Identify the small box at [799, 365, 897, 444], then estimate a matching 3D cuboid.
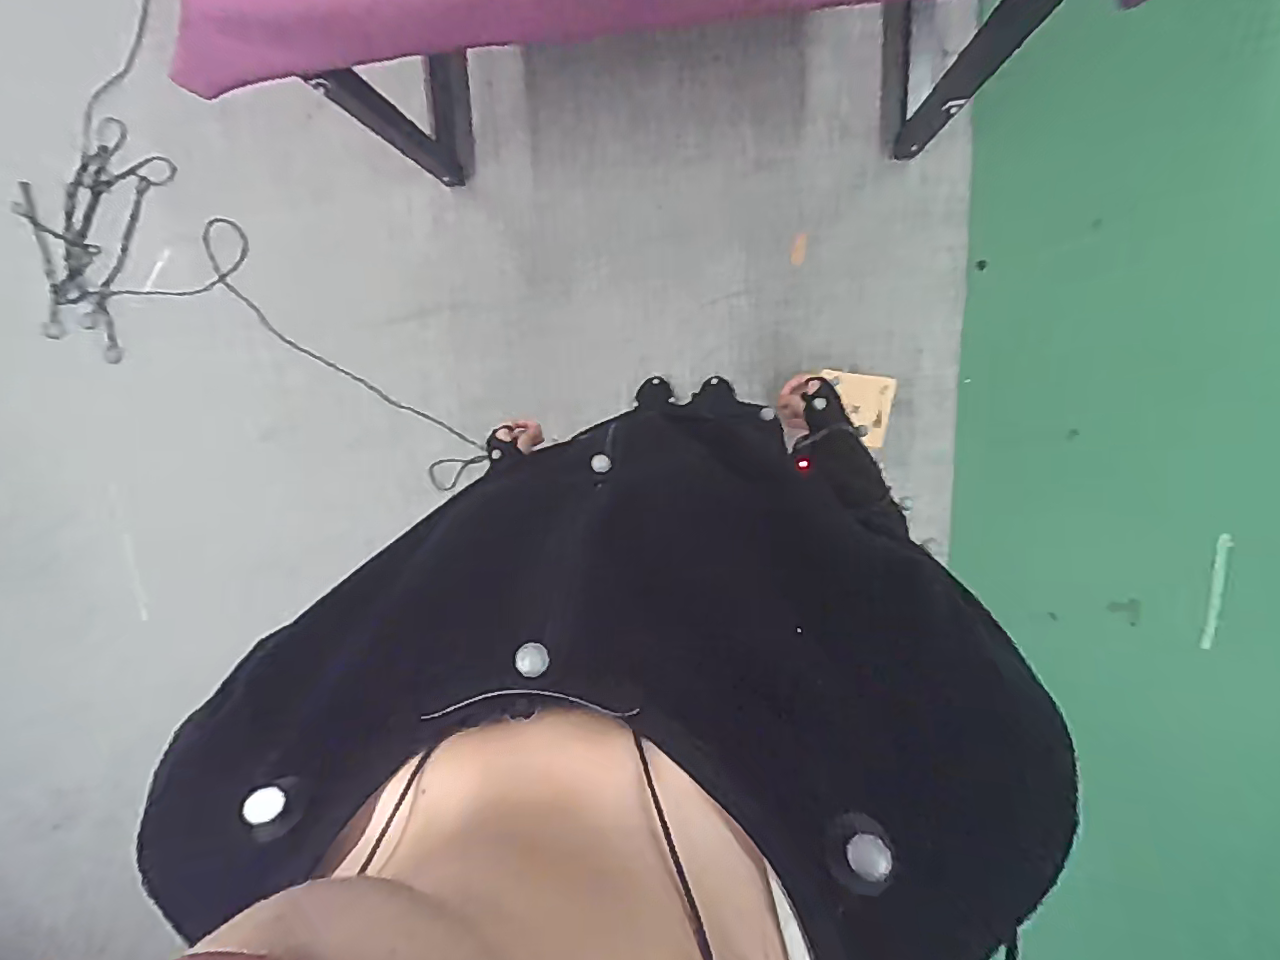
[{"bbox_3d":[0.505,-0.190,1.341,0.179,0.176,0.168,9,102,5],"label":"small box"}]
